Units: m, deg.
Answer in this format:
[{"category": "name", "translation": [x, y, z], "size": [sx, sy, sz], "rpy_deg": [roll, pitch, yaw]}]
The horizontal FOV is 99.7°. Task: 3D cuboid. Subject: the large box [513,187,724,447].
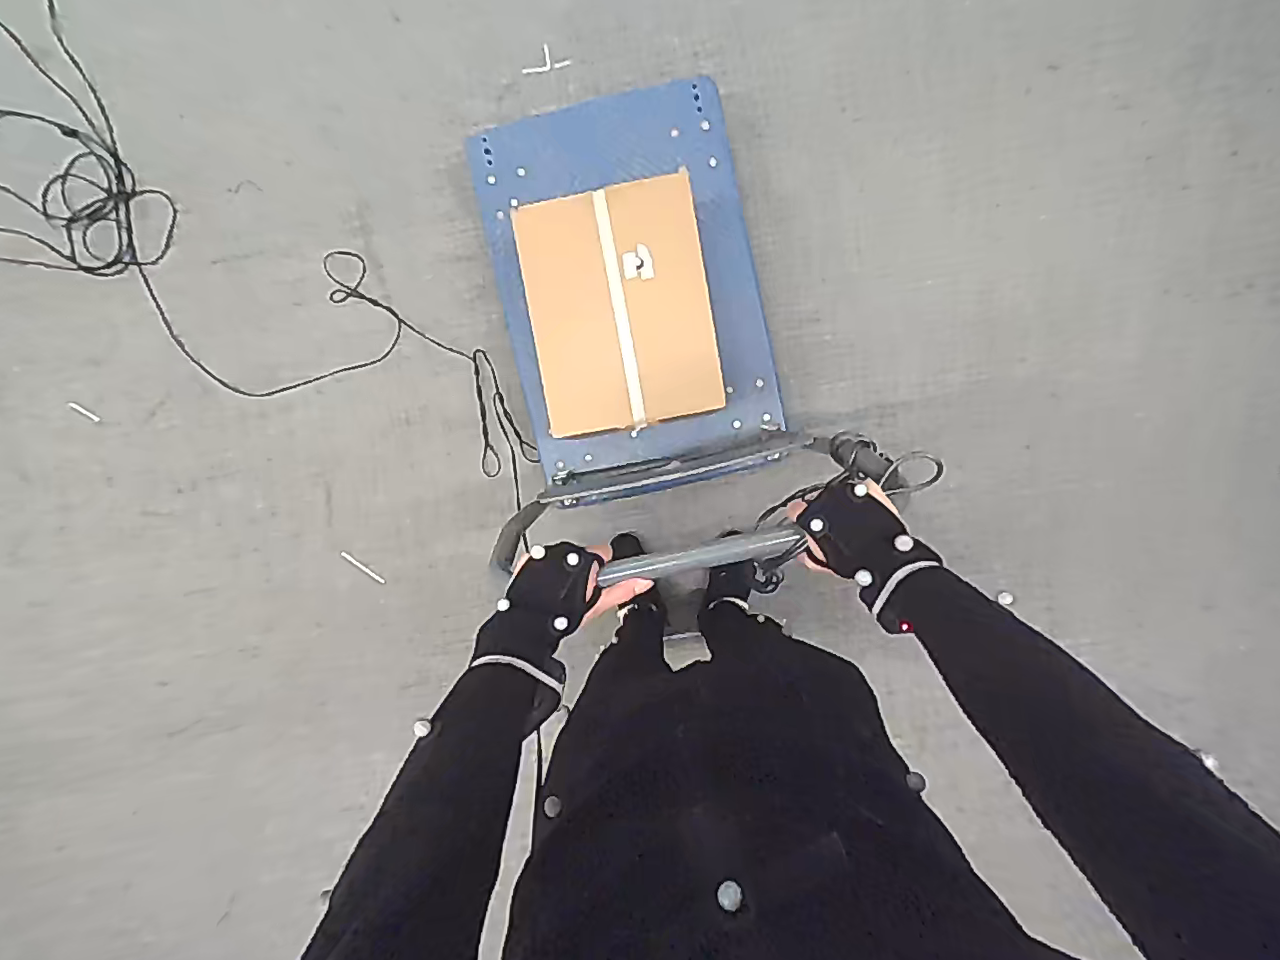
[{"category": "large box", "translation": [-0.030, -0.291, 1.092], "size": [0.320, 0.320, 0.408], "rpy_deg": [-10, 93, 2]}]
